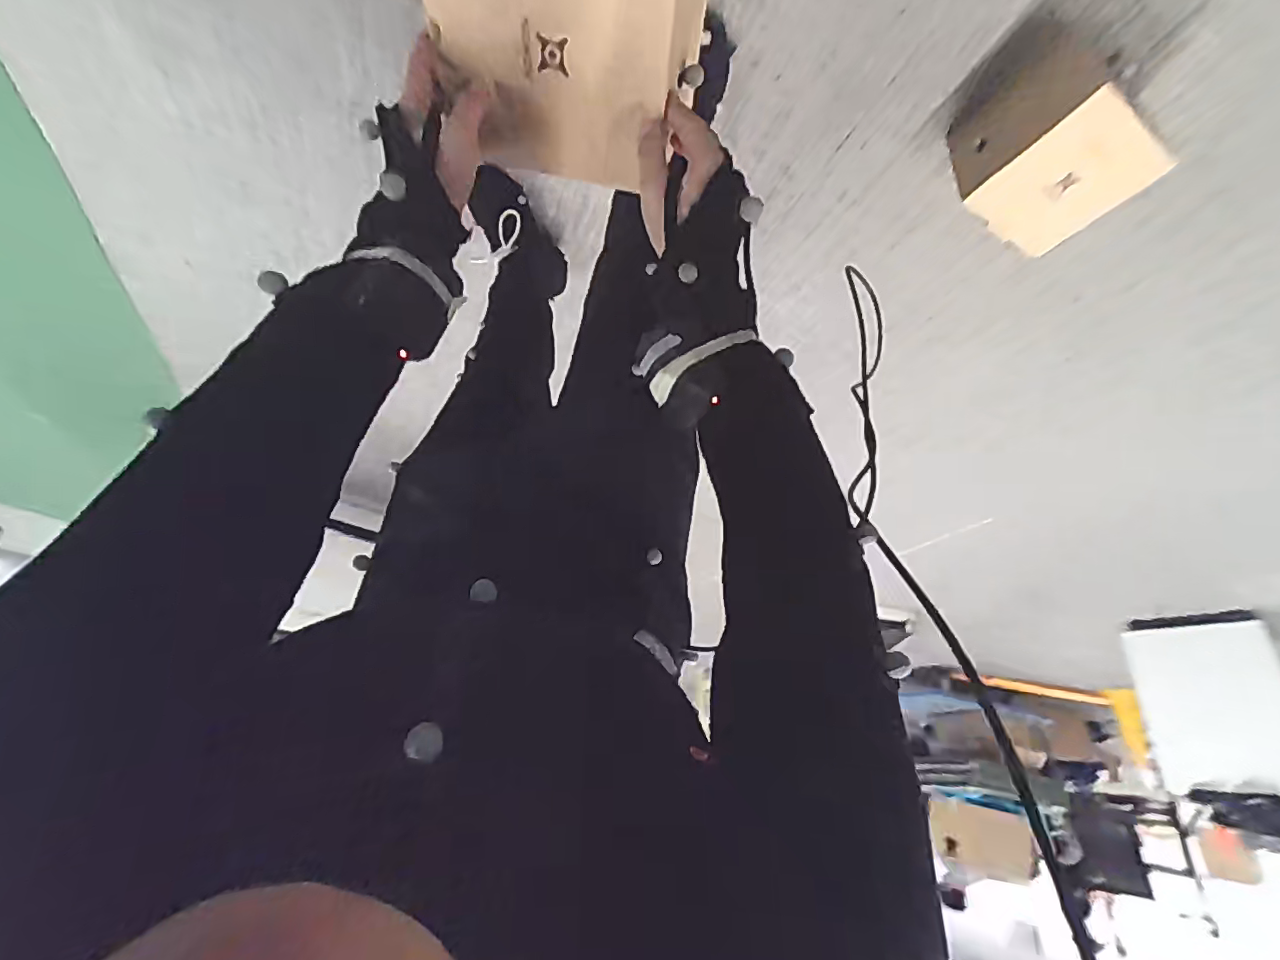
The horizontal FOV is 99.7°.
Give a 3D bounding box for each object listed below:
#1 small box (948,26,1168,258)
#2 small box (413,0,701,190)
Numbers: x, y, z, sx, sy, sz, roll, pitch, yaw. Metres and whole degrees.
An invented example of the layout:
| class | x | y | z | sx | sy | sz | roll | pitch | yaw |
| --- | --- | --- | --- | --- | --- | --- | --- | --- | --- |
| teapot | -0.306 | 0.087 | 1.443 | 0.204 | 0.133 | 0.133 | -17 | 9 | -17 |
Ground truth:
| class | x | y | z | sx | sy | sz | roll | pitch | yaw |
| --- | --- | --- | --- | --- | --- | --- | --- | --- | --- |
| small box | 0.556 | -0.458 | 0.746 | 0.168 | 0.176 | 0.179 | 22 | 147 | -22 |
| small box | -0.048 | -0.354 | 0.406 | 0.179 | 0.176 | 0.168 | 14 | 147 | 5 |
